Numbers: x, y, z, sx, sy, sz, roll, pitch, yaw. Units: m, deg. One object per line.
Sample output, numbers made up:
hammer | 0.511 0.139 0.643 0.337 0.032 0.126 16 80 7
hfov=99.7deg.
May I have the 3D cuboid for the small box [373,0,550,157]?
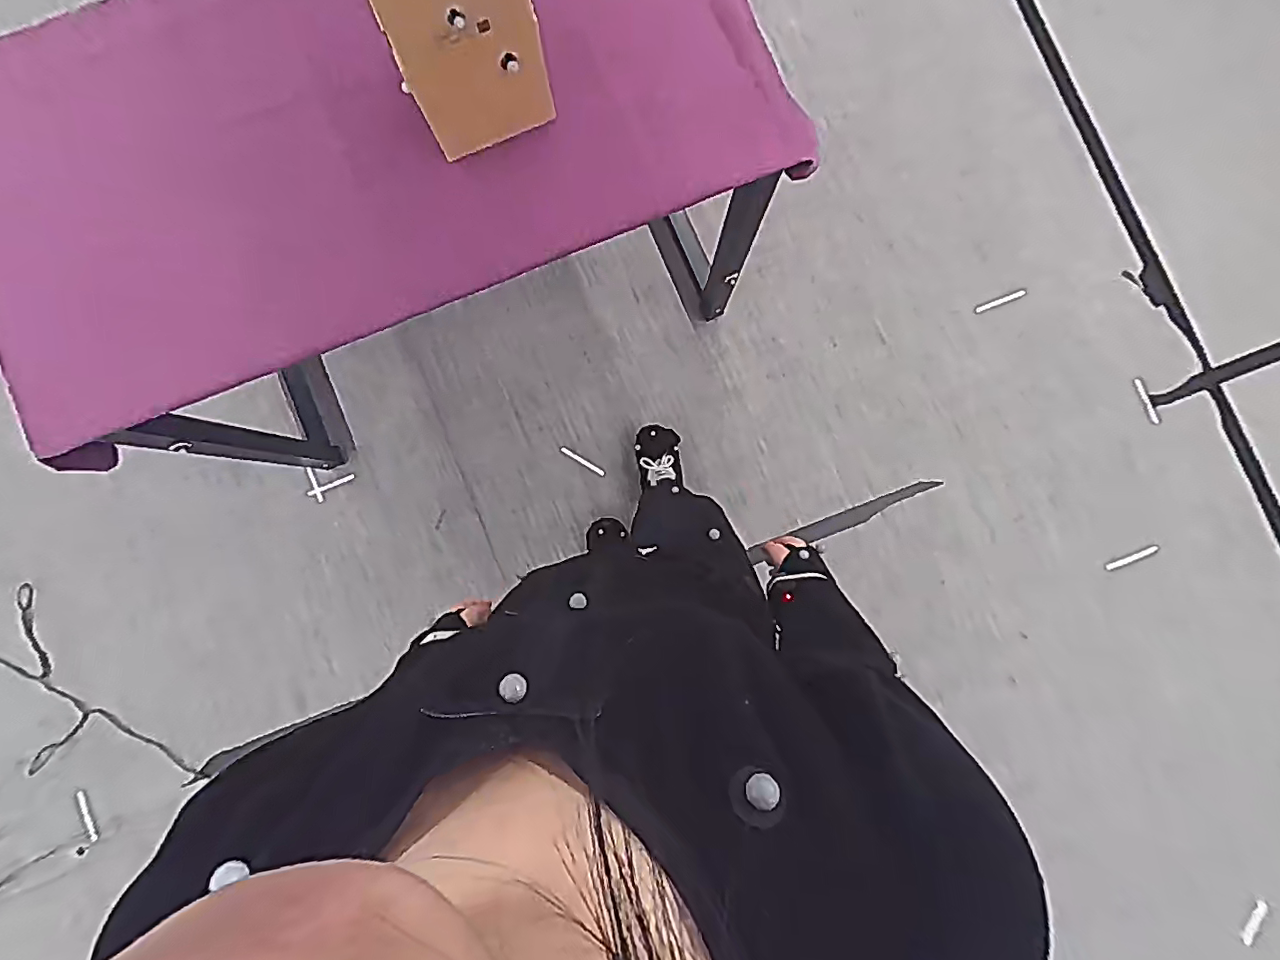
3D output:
small box | -0.232 -0.583 0.723 0.179 0.176 0.168 -23 86 -1
